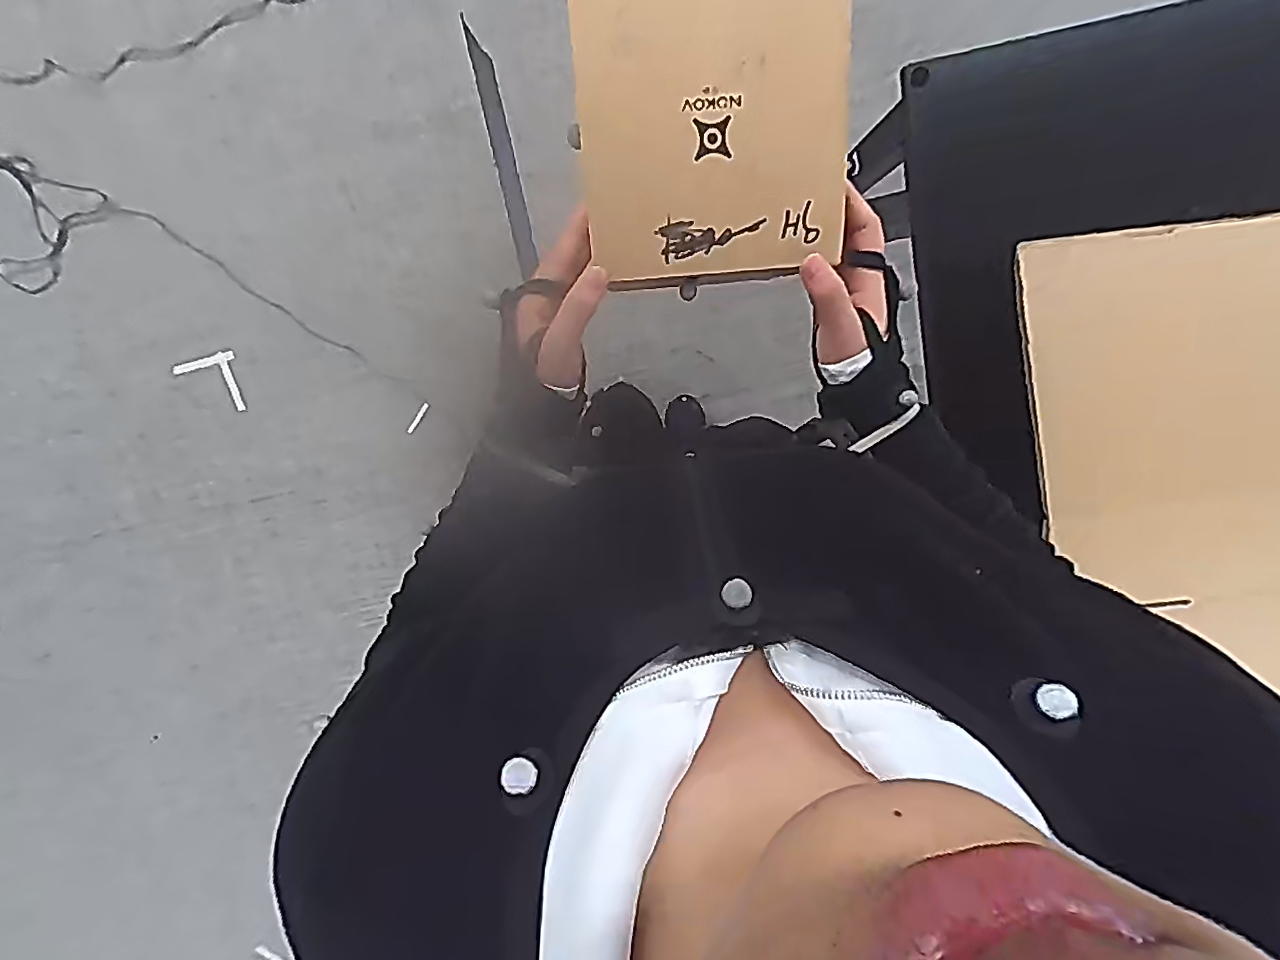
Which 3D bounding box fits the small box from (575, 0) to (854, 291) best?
[{"bbox_3d":[0.044,-0.244,0.405,0.168,0.176,0.179,-5,107,0],"label":"small box"}]
